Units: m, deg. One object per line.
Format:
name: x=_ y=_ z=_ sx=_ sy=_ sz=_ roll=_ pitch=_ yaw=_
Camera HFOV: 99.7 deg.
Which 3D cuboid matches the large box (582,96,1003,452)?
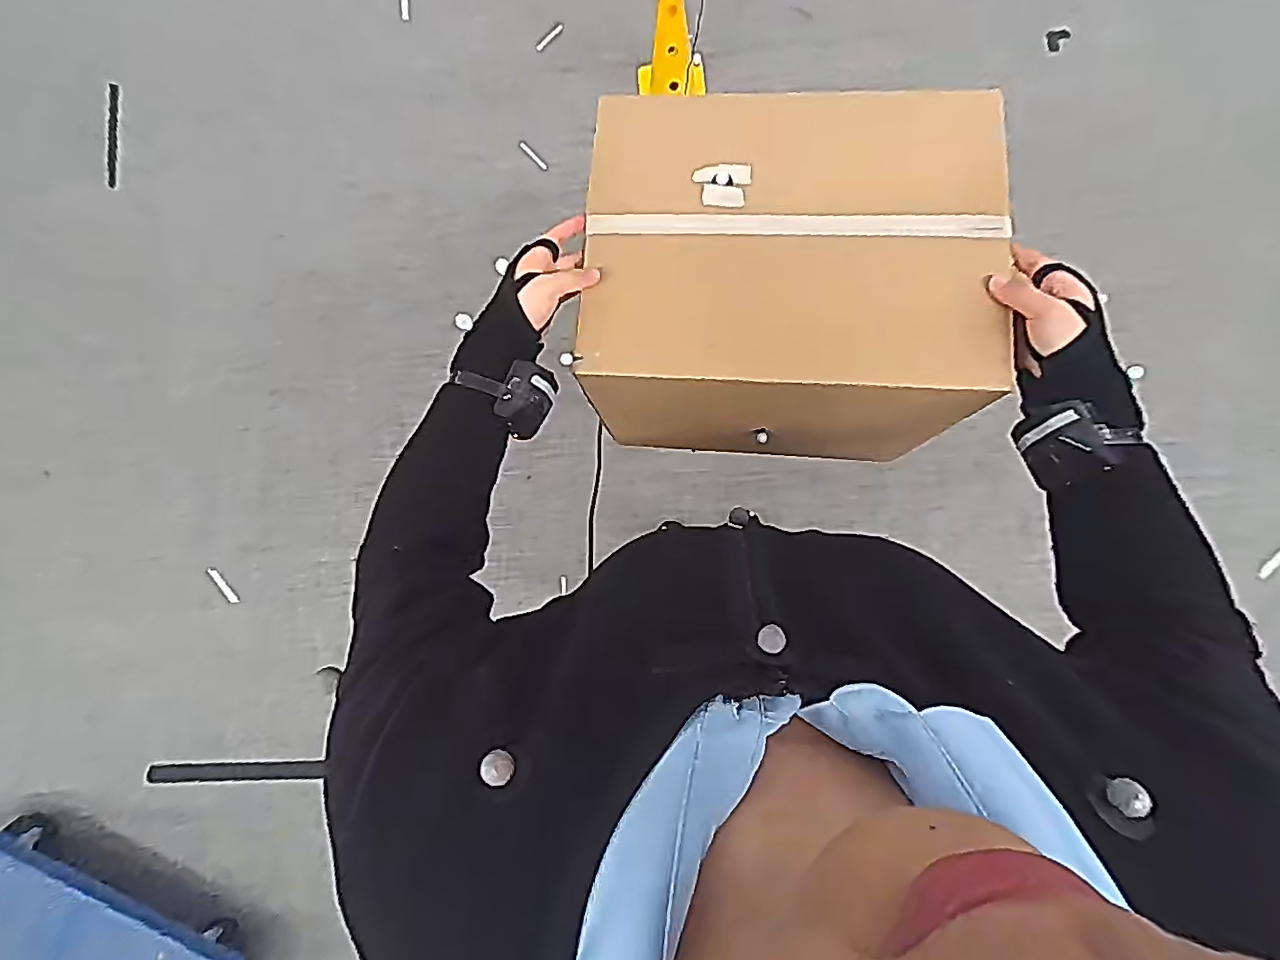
large box: x=0.164 y=-0.219 z=0.689 sx=0.408 sy=0.320 sz=0.320 roll=3 pitch=79 yaw=7
